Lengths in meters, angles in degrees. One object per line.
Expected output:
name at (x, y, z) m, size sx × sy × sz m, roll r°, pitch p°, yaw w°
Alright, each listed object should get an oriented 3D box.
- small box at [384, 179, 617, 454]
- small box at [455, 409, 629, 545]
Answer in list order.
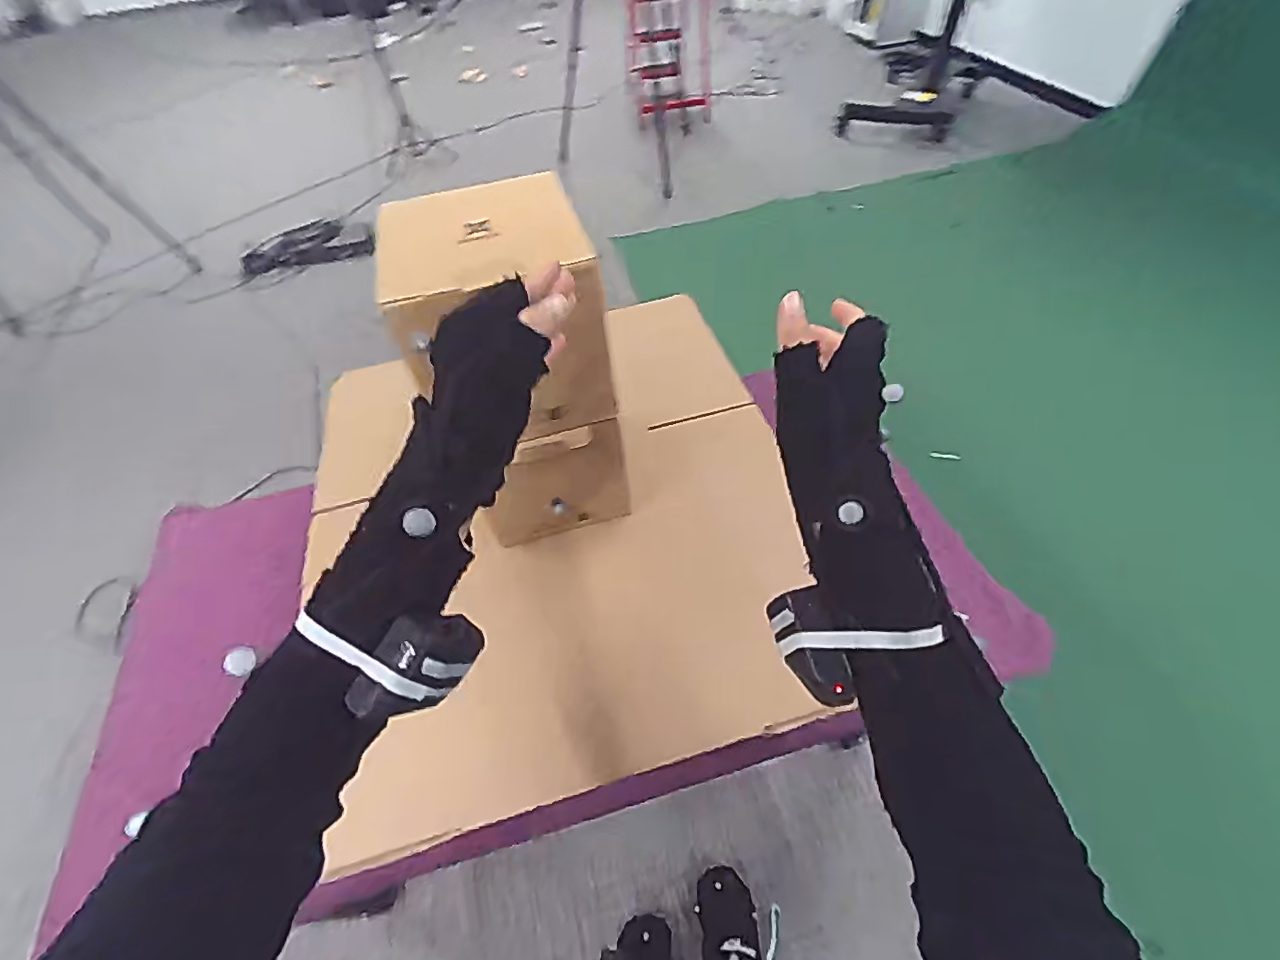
small box at (-0.125, -0.154, 0.513) m, size 0.168 × 0.176 × 0.179 m, roll -15°, pitch 52°, yaw -8°
small box at (-0.115, -0.051, 0.640) m, size 0.168 × 0.176 × 0.179 m, roll -15°, pitch 52°, yaw -7°
